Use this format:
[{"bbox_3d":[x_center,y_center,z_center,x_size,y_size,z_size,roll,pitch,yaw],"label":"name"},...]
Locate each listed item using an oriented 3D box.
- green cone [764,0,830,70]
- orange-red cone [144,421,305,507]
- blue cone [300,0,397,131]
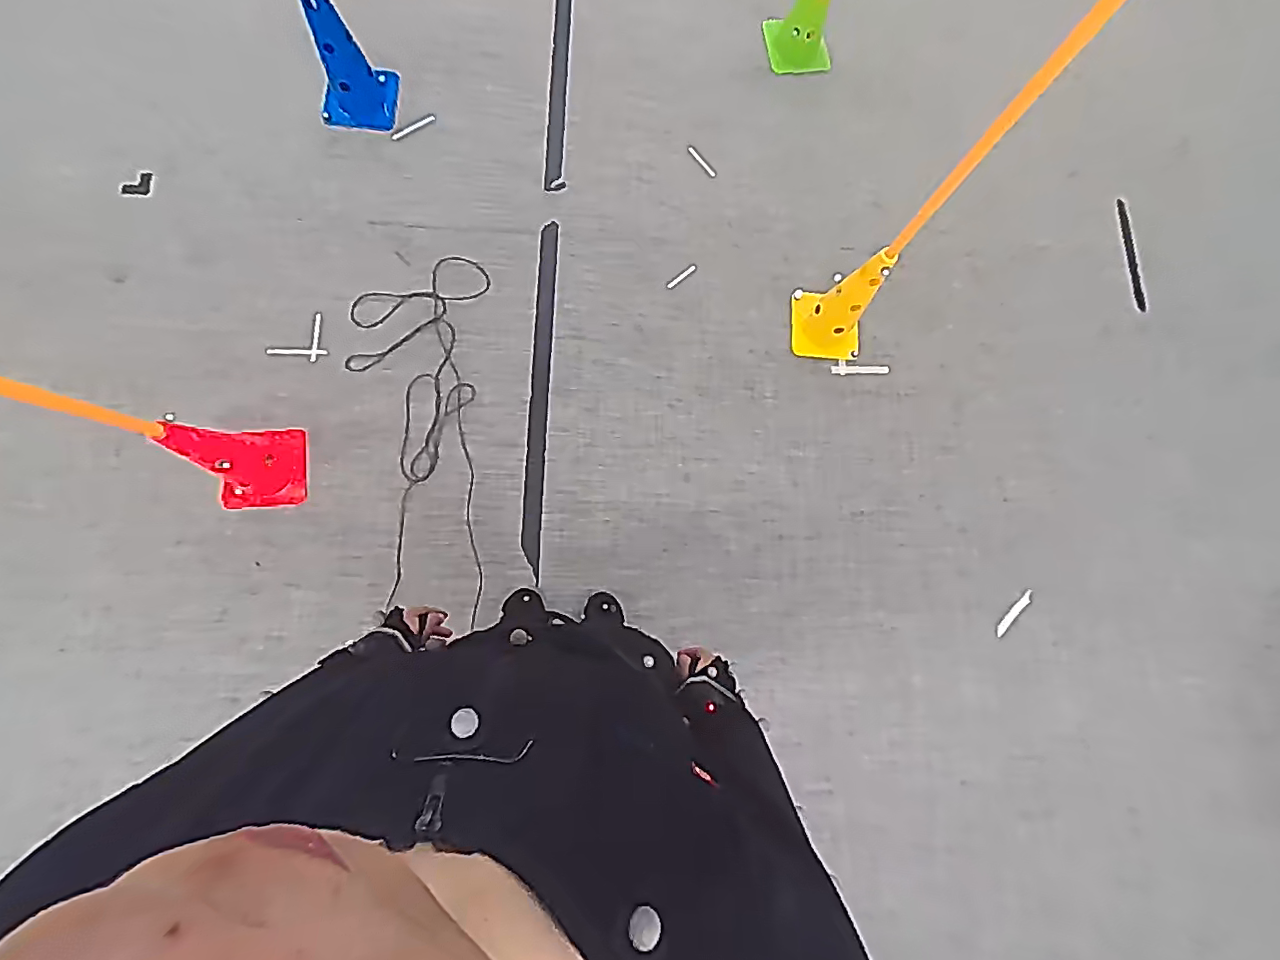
[{"bbox_3d":[0.521,-1.445,1.578,0.200,0.368,0.202,-9,82,-6],"label":"green cone"},{"bbox_3d":[-0.930,-0.064,1.190,0.199,0.360,0.198,-3,80,-7],"label":"orange-red cone"},{"bbox_3d":[-0.801,-1.142,1.421,0.193,0.380,0.192,4,80,-4],"label":"blue cone"}]
